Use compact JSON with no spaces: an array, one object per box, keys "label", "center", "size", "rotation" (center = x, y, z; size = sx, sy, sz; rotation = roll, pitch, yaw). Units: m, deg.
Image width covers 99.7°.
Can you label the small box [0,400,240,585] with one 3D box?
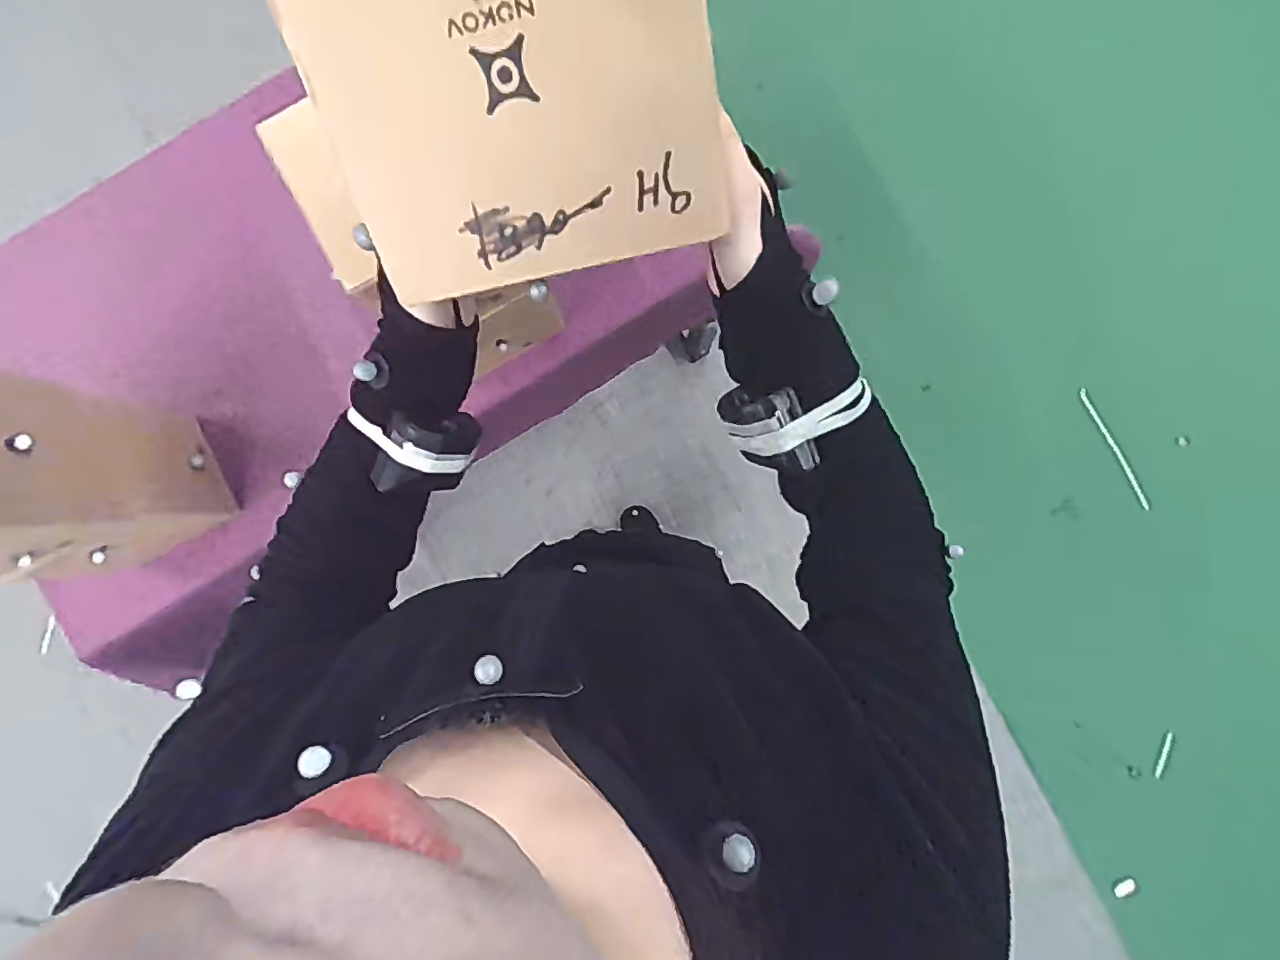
[{"label":"small box","center":[-0.693,0.019,0.715],"size":[0.179,0.176,0.168],"rotation":[-28,88,-1]}]

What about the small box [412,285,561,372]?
[{"label":"small box","center":[-0.222,-0.260,0.719],"size":[0.168,0.176,0.179],"rotation":[-31,88,-1]}]

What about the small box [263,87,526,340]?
[{"label":"small box","center":[-0.223,-0.274,0.556],"size":[0.168,0.176,0.179],"rotation":[-31,89,0]}]

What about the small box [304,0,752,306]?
[{"label":"small box","center":[-0.042,-0.210,0.283],"size":[0.168,0.176,0.179],"rotation":[-9,121,7]}]
